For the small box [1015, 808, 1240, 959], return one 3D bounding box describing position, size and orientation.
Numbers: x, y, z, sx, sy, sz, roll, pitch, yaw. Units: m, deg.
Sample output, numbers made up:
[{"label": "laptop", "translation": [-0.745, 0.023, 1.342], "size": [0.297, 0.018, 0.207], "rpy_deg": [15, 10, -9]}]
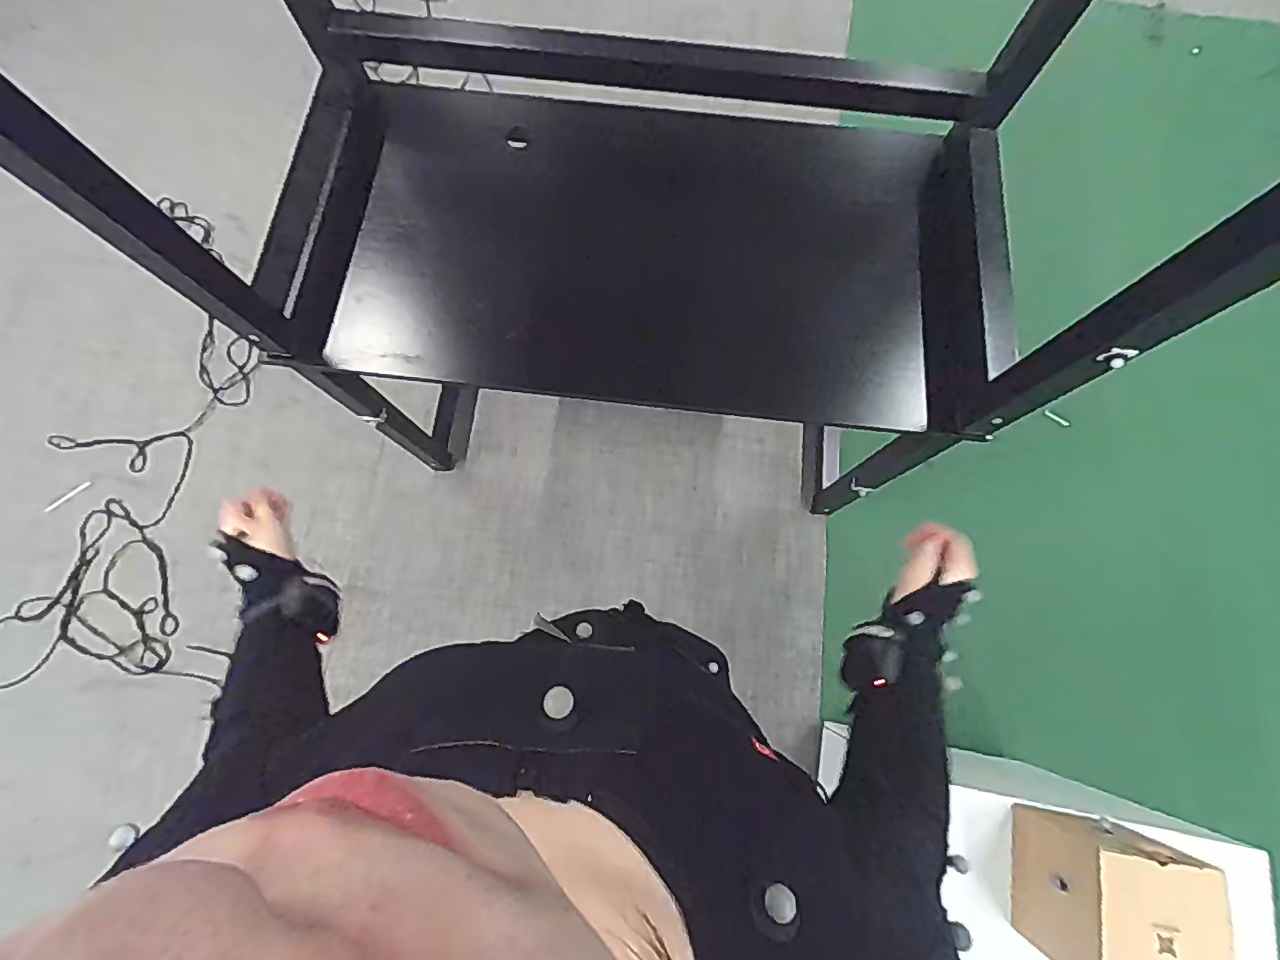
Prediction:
[{"label": "small box", "translation": [0.650, 0.581, 0.742], "size": [0.168, 0.176, 0.179], "rpy_deg": [10, 76, 2]}]
